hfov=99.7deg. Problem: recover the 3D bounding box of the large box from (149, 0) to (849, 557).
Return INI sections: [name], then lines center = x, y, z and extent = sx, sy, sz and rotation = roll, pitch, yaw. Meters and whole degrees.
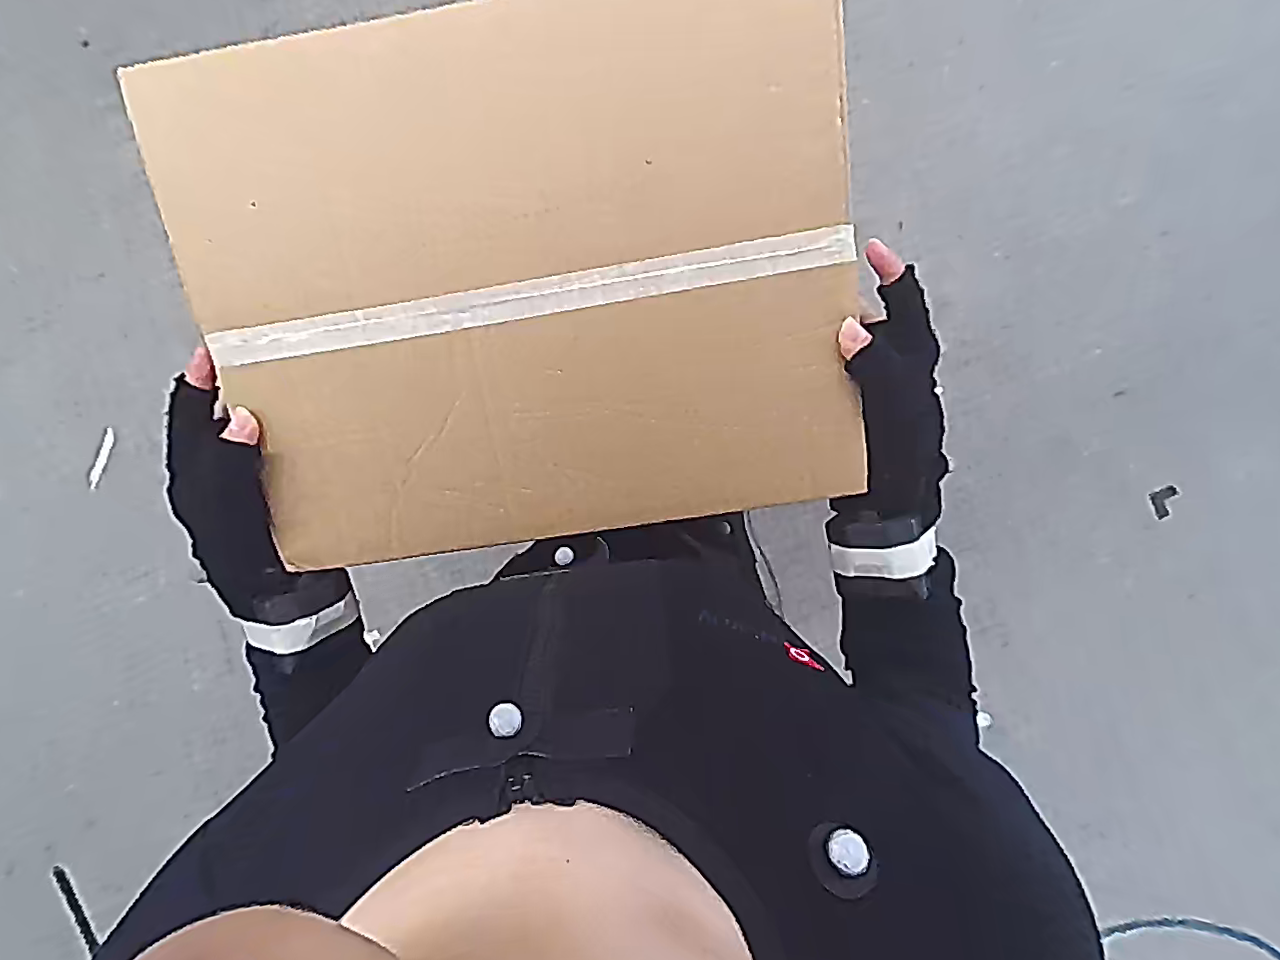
[large box]
center = -0.071, -0.157, 0.489
extent = 0.408, 0.320, 0.320
rotation = -8, 104, 3
